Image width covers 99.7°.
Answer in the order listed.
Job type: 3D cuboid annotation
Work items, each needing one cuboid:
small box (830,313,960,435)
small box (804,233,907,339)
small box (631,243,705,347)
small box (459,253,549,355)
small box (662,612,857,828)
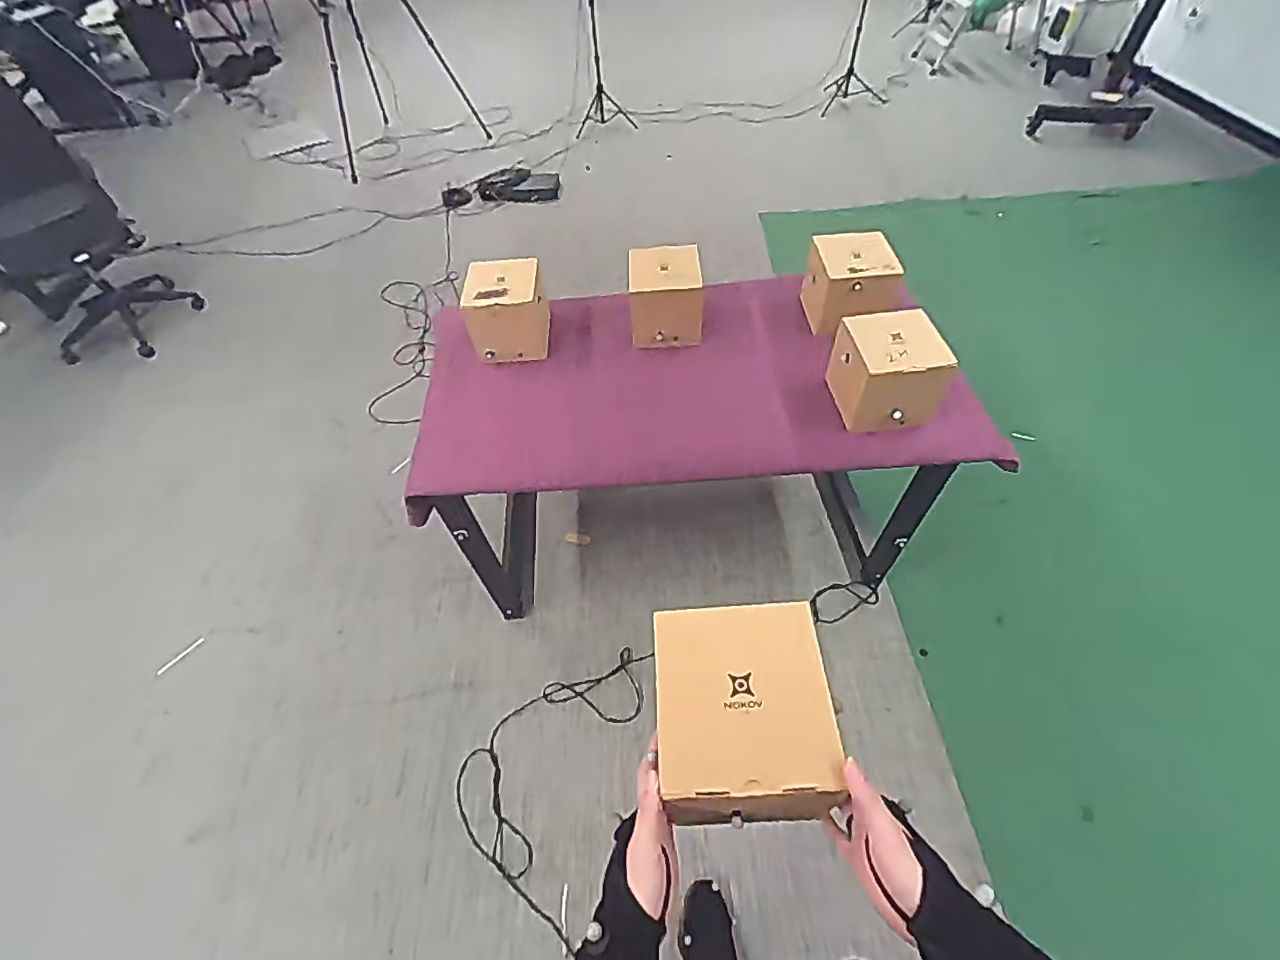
[{"bbox_3d":[0.505,-0.214,1.103,0.168,0.176,0.179,-5,54,1],"label":"small box"},{"bbox_3d":[0.499,-0.460,1.285,0.168,0.176,0.179,-4,54,1],"label":"small box"},{"bbox_3d":[0.064,-0.441,1.294,0.168,0.176,0.179,-2,55,2],"label":"small box"},{"bbox_3d":[-0.313,-0.410,1.284,0.168,0.176,0.179,-3,55,0],"label":"small box"},{"bbox_3d":[0.108,0.258,0.576,0.168,0.176,0.179,-4,53,3],"label":"small box"}]
